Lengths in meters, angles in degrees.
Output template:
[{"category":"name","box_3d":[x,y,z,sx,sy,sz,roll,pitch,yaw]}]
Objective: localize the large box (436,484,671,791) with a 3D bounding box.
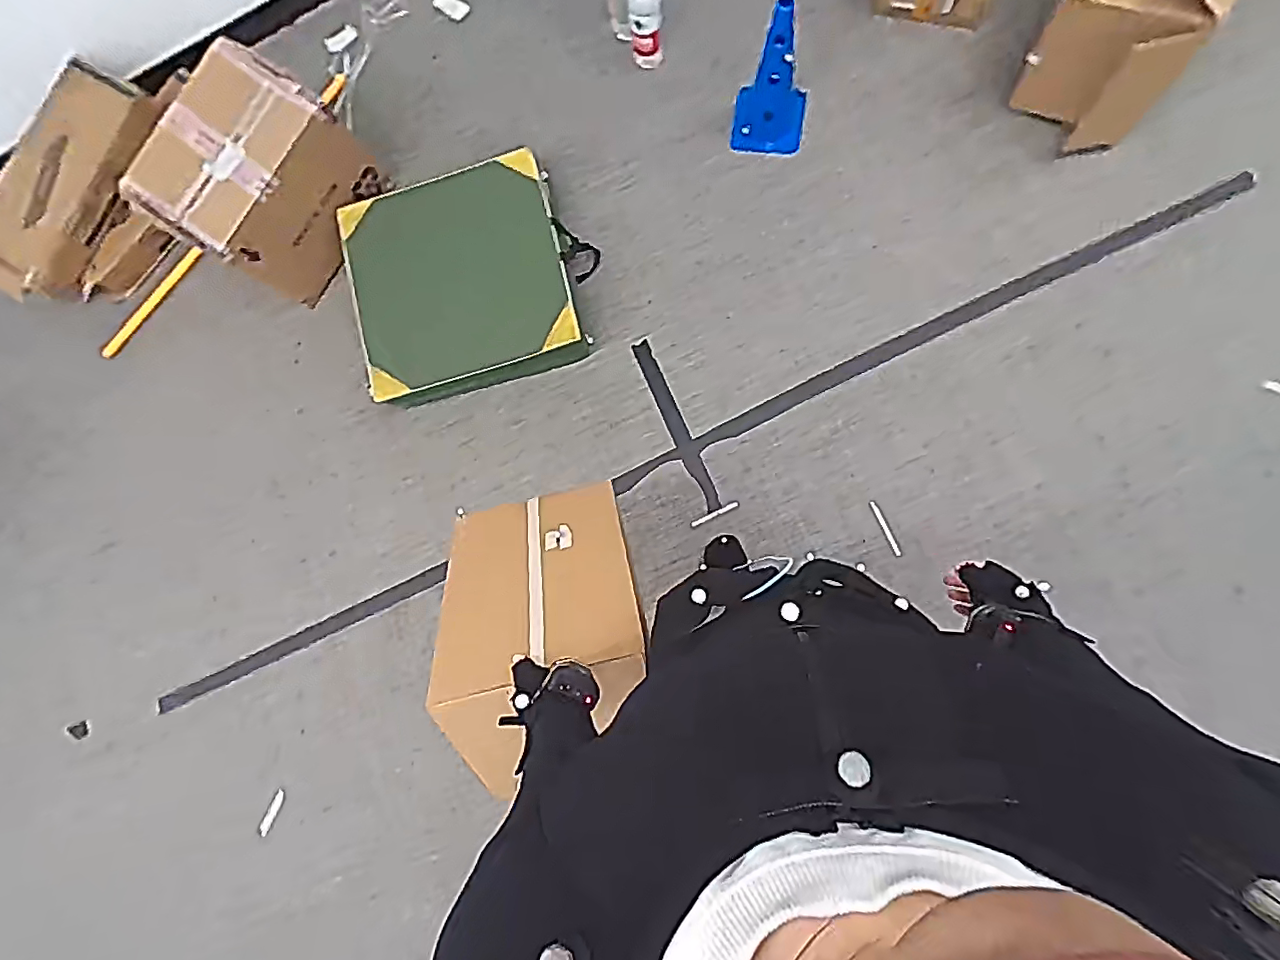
[{"category":"large box","box_3d":[-0.147,0.272,0.997,0.320,0.408,0.320,-12,127,-3]}]
